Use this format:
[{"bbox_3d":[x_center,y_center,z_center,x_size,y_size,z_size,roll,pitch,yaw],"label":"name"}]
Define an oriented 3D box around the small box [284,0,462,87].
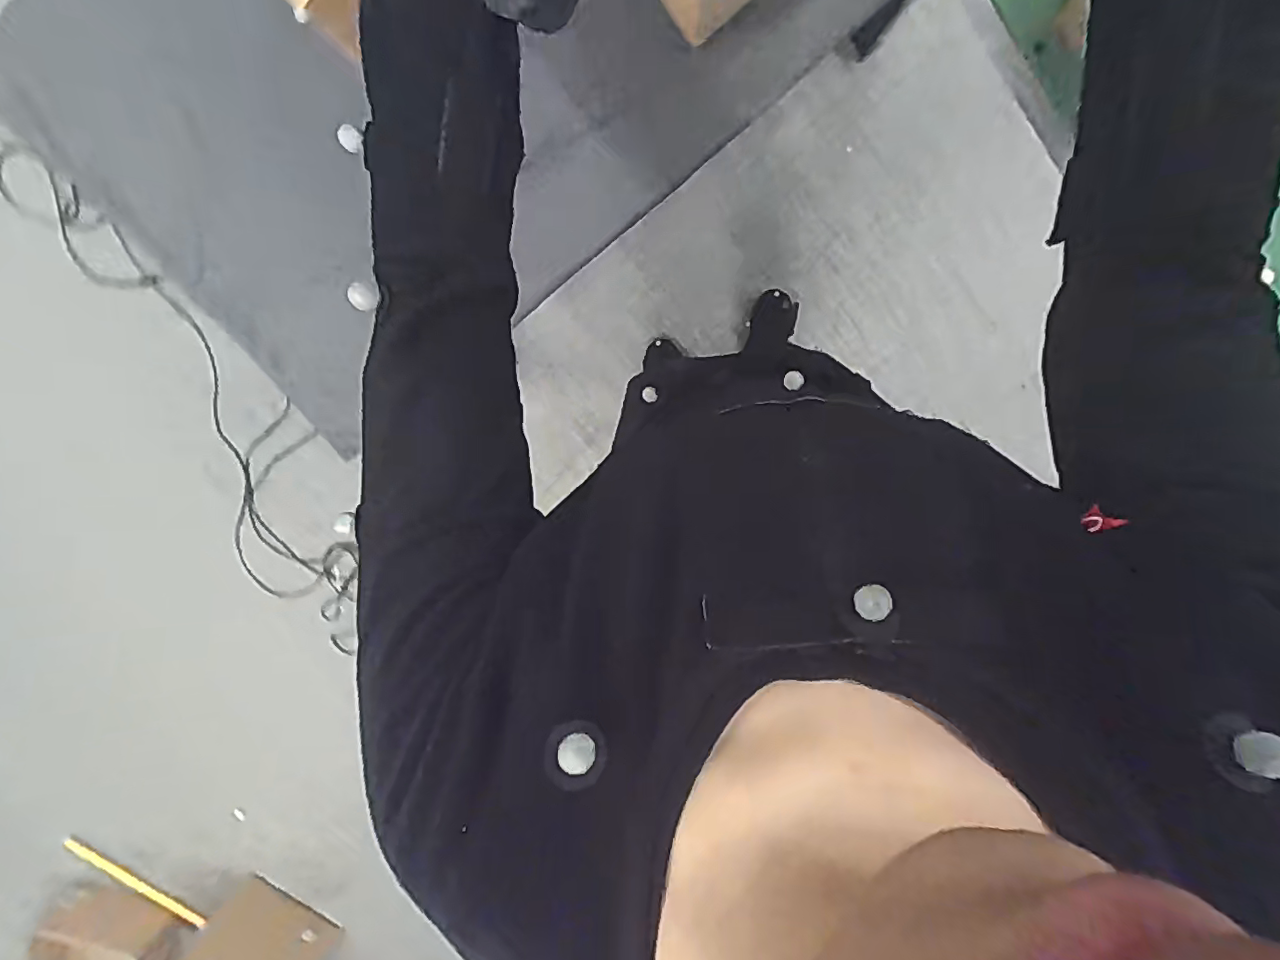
[{"bbox_3d":[-0.286,-0.540,0.518,0.179,0.176,0.168,-41,99,12],"label":"small box"}]
